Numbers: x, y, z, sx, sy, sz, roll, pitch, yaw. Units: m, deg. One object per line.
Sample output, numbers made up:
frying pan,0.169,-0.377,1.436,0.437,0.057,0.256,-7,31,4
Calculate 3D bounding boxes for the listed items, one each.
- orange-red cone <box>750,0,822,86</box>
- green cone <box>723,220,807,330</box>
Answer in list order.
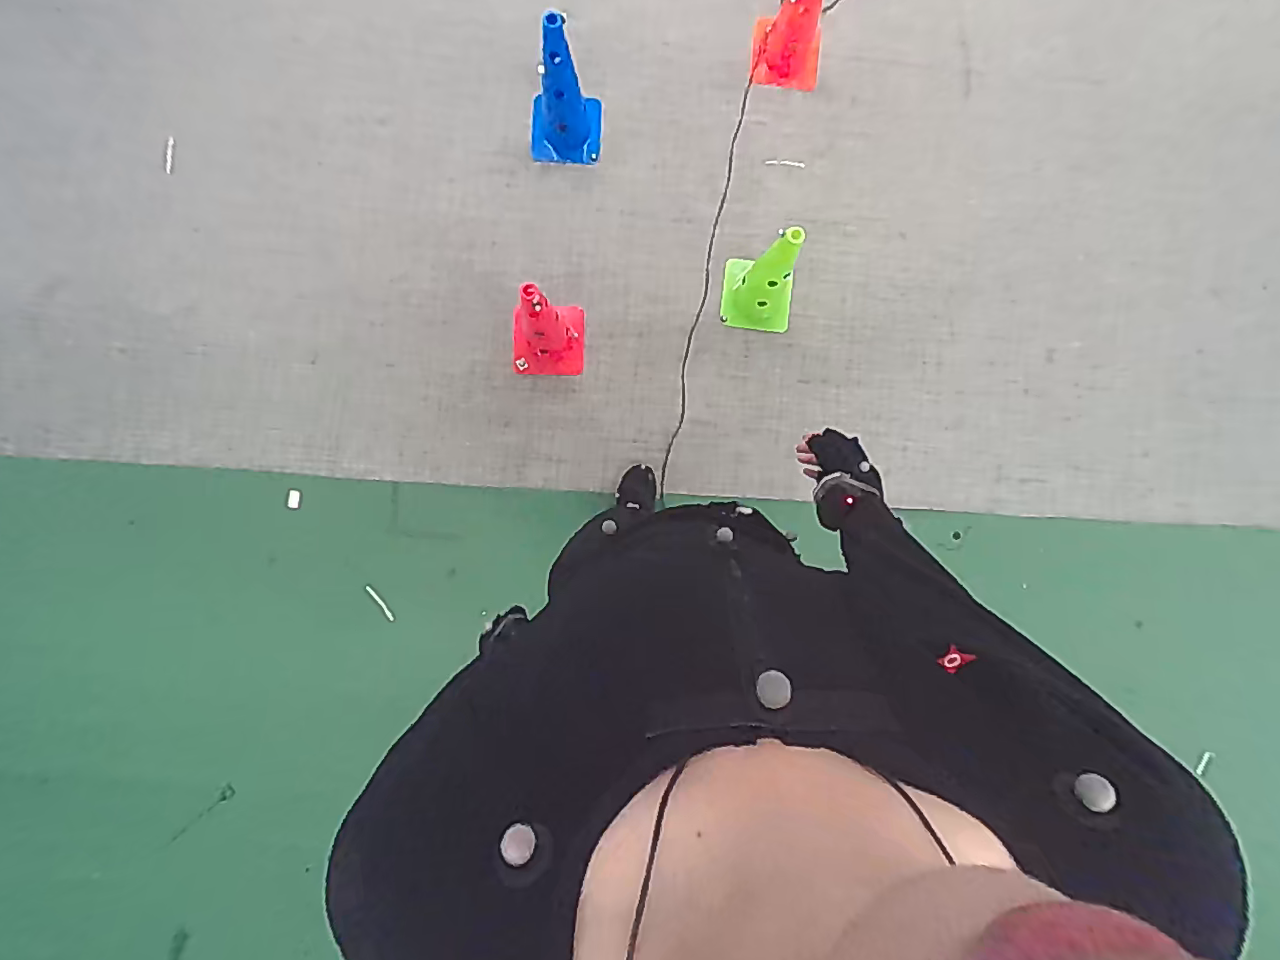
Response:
orange-red cone,0.432,-1.270,1.422,0.198,0.360,0.199,8,88,0
green cone,0.349,-0.544,1.382,0.200,0.368,0.202,6,86,-2
